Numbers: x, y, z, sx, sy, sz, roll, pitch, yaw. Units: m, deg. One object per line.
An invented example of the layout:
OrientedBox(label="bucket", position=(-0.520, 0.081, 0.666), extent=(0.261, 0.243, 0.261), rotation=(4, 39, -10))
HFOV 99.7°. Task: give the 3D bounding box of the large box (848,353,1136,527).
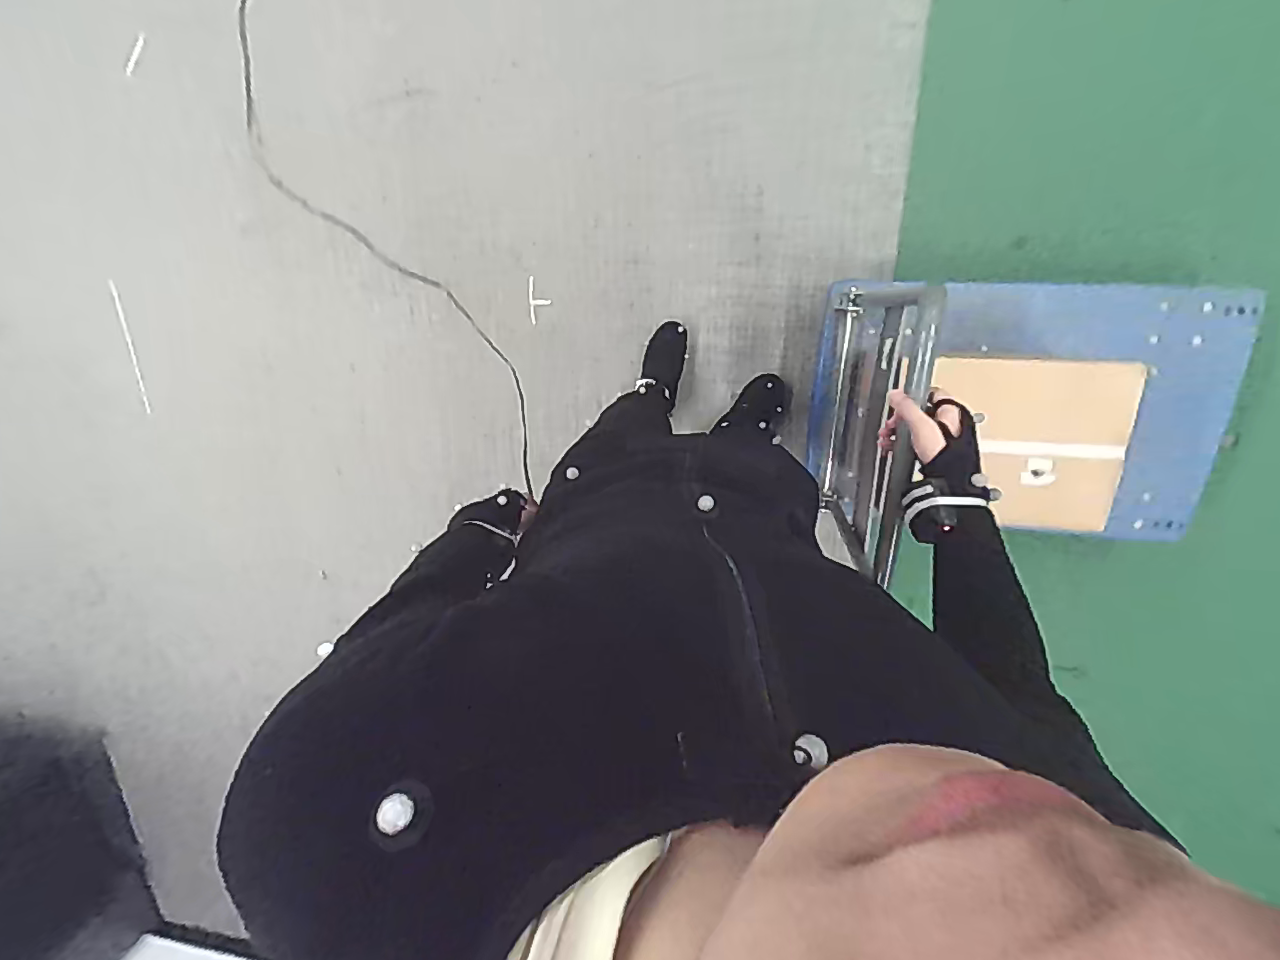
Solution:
OrientedBox(label="large box", position=(0.695, -0.108, 1.157), extent=(0.408, 0.320, 0.320), rotation=(5, 107, 9))
